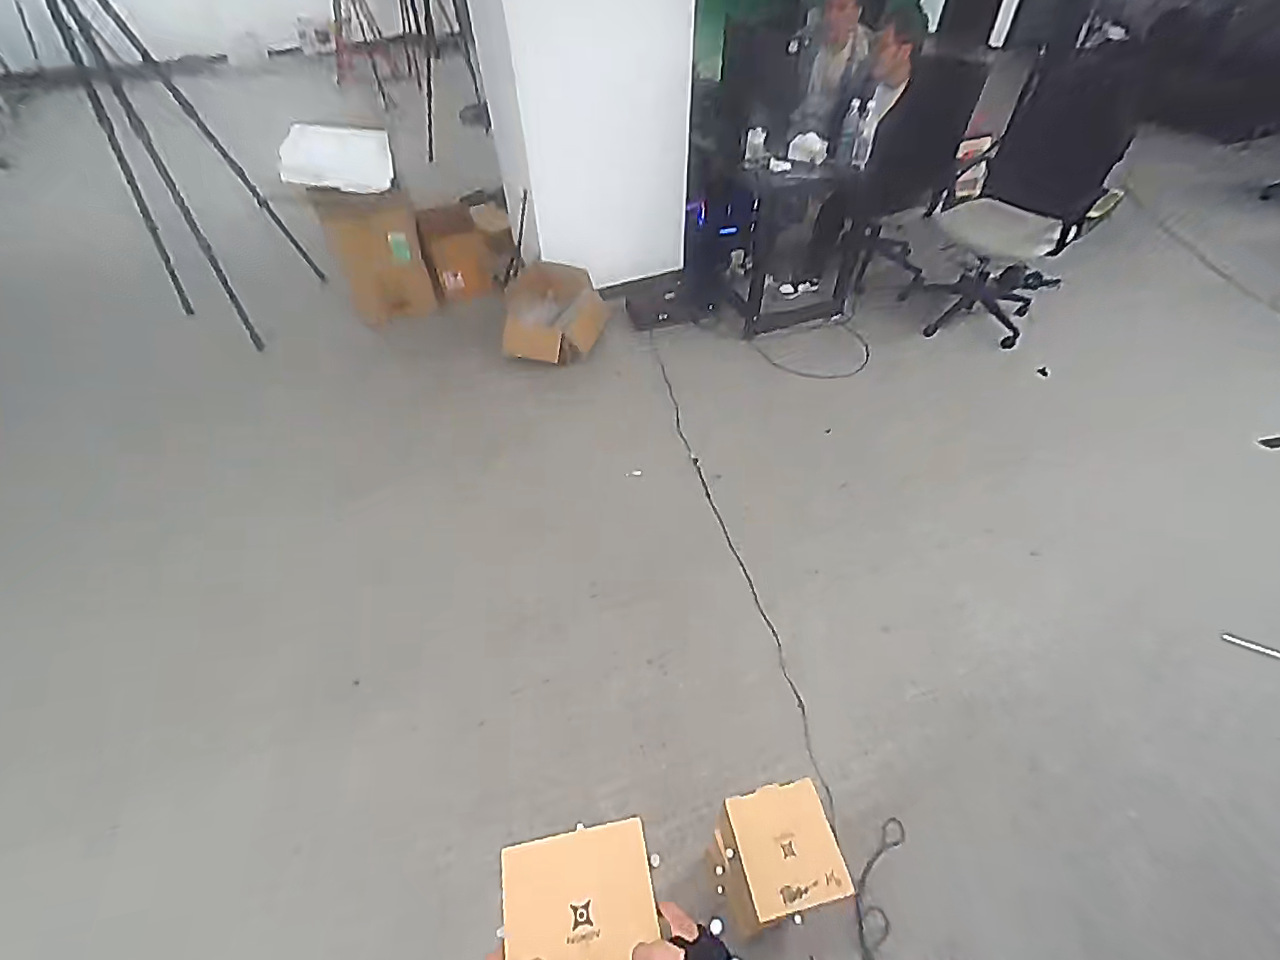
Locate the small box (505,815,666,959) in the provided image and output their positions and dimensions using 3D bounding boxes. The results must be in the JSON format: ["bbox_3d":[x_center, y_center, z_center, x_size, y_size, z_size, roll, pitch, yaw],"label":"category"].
[{"bbox_3d":[-0.064,0.526,0.644,0.168,0.176,0.179,-8,53,-8],"label":"small box"}]

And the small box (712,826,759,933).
[{"bbox_3d":[0.254,0.776,1.087,0.179,0.176,0.168,-16,49,-12],"label":"small box"}]

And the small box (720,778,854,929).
[{"bbox_3d":[0.247,0.667,0.965,0.168,0.176,0.179,-10,47,-7],"label":"small box"}]

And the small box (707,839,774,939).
[{"bbox_3d":[0.257,0.885,1.207,0.168,0.176,0.179,-17,49,-12],"label":"small box"}]
